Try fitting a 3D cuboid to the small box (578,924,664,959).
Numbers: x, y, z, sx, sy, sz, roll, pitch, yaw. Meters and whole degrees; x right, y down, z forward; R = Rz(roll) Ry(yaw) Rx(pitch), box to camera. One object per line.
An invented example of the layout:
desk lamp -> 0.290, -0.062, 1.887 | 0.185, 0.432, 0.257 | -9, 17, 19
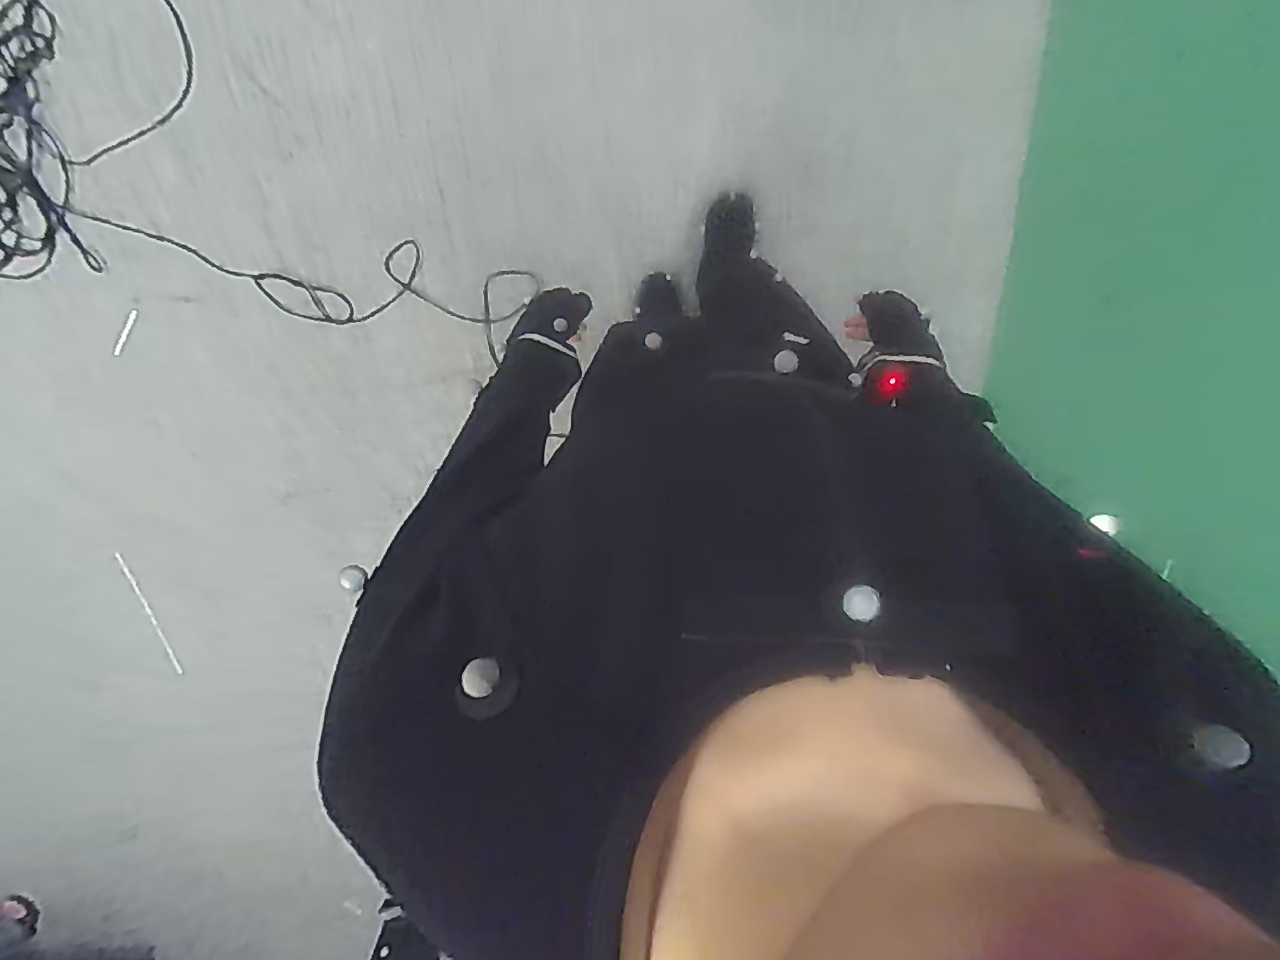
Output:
small box -> -0.033, 1.022, 1.066 | 0.168, 0.176, 0.179 | -6, 113, 2
